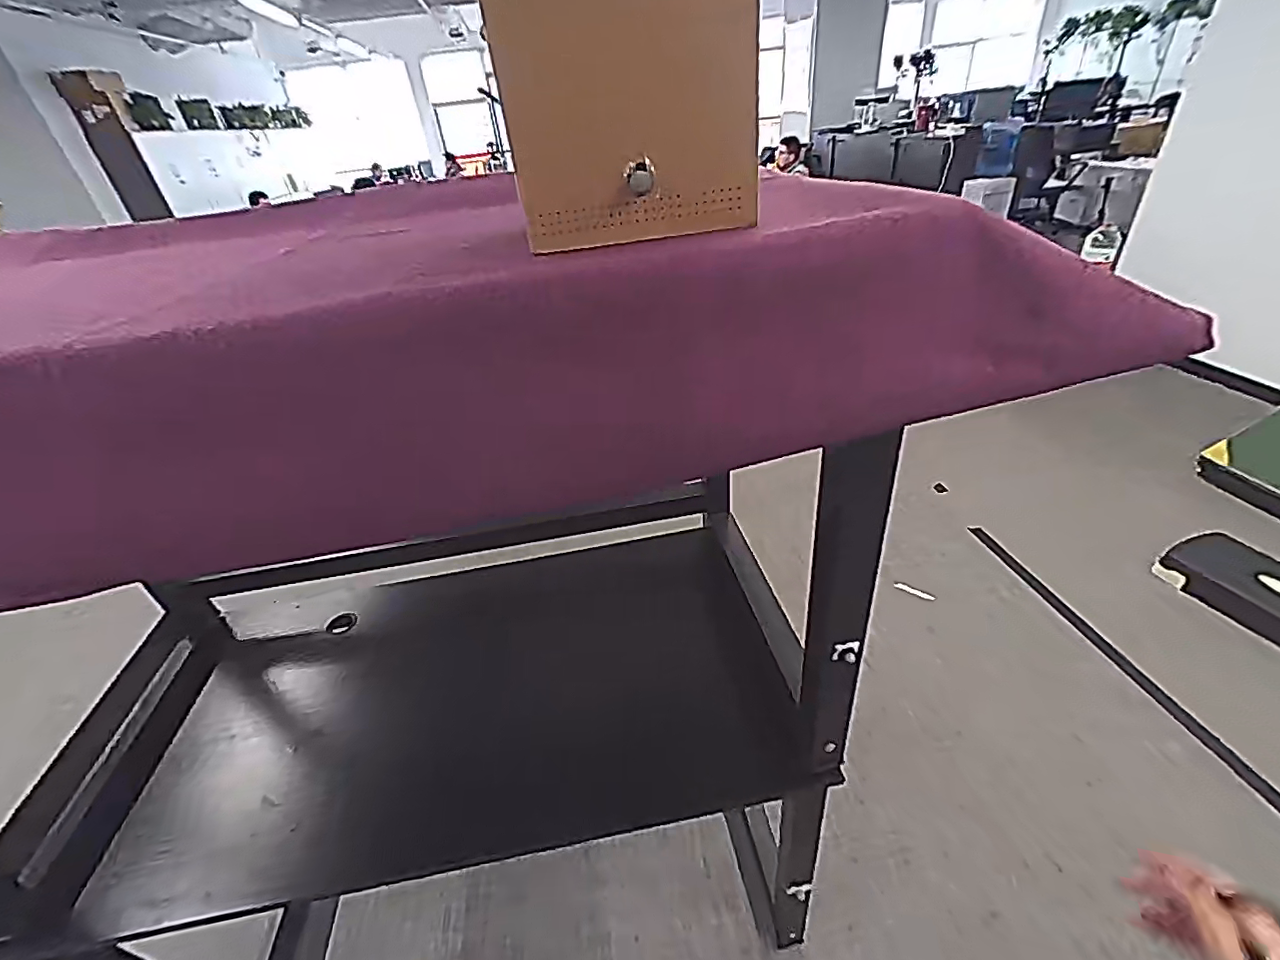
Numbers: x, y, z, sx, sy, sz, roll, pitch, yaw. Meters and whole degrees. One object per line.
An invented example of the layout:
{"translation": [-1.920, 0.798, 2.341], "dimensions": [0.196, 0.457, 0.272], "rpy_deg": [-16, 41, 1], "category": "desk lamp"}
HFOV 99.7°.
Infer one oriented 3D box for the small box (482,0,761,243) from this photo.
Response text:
{"translation": [-0.010, -0.297, 0.425], "dimensions": [0.179, 0.176, 0.168], "rpy_deg": [-8, 33, -1], "category": "small box"}
